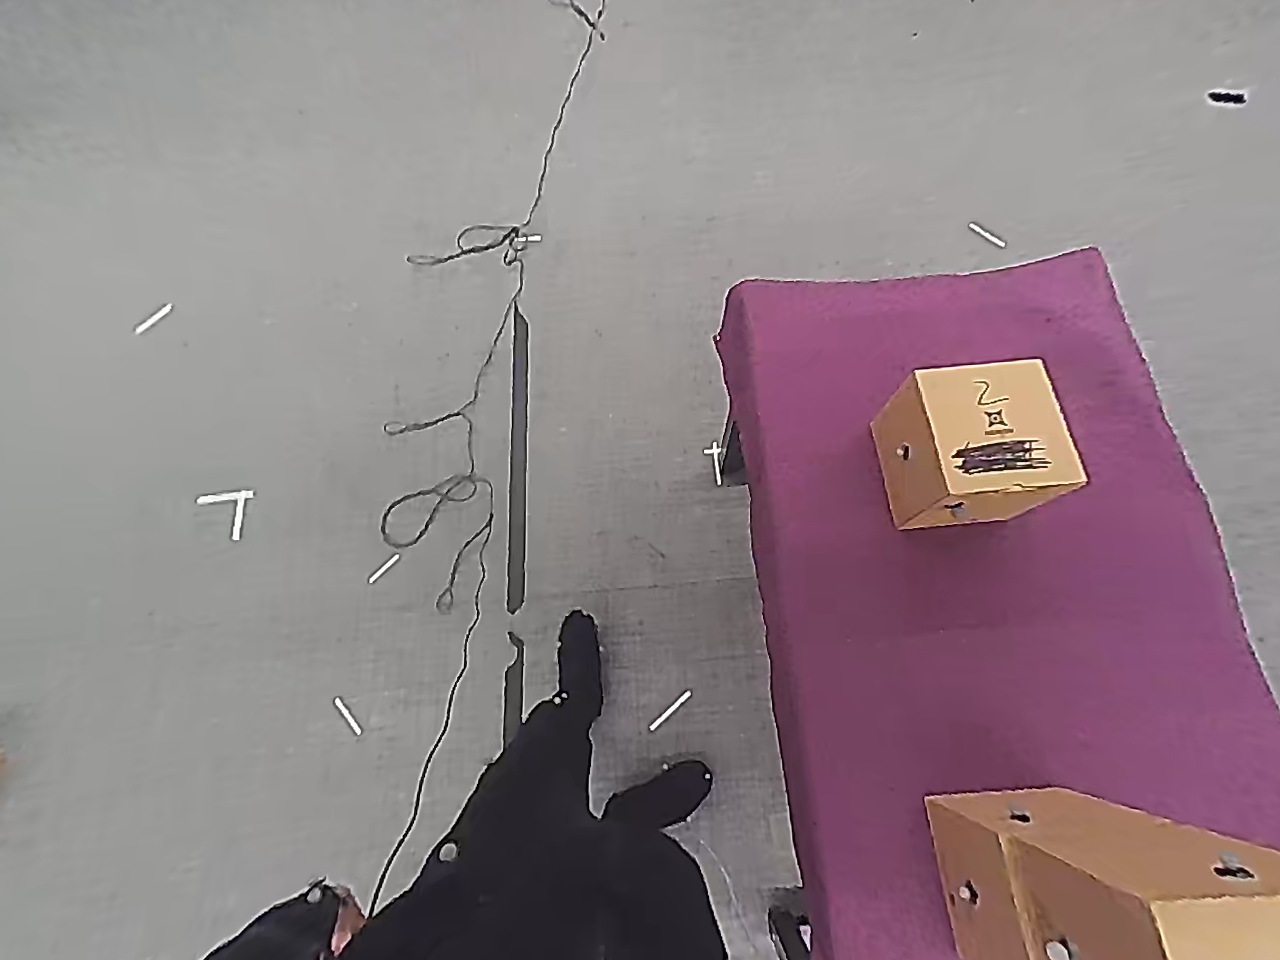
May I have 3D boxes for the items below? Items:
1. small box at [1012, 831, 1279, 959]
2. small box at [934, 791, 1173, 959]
[{"bbox_3d":[0.449,0.396,0.430,0.179,0.176,0.168,-4,71,2],"label":"small box"},{"bbox_3d":[0.447,0.449,0.586,0.179,0.176,0.168,-4,71,1],"label":"small box"}]
